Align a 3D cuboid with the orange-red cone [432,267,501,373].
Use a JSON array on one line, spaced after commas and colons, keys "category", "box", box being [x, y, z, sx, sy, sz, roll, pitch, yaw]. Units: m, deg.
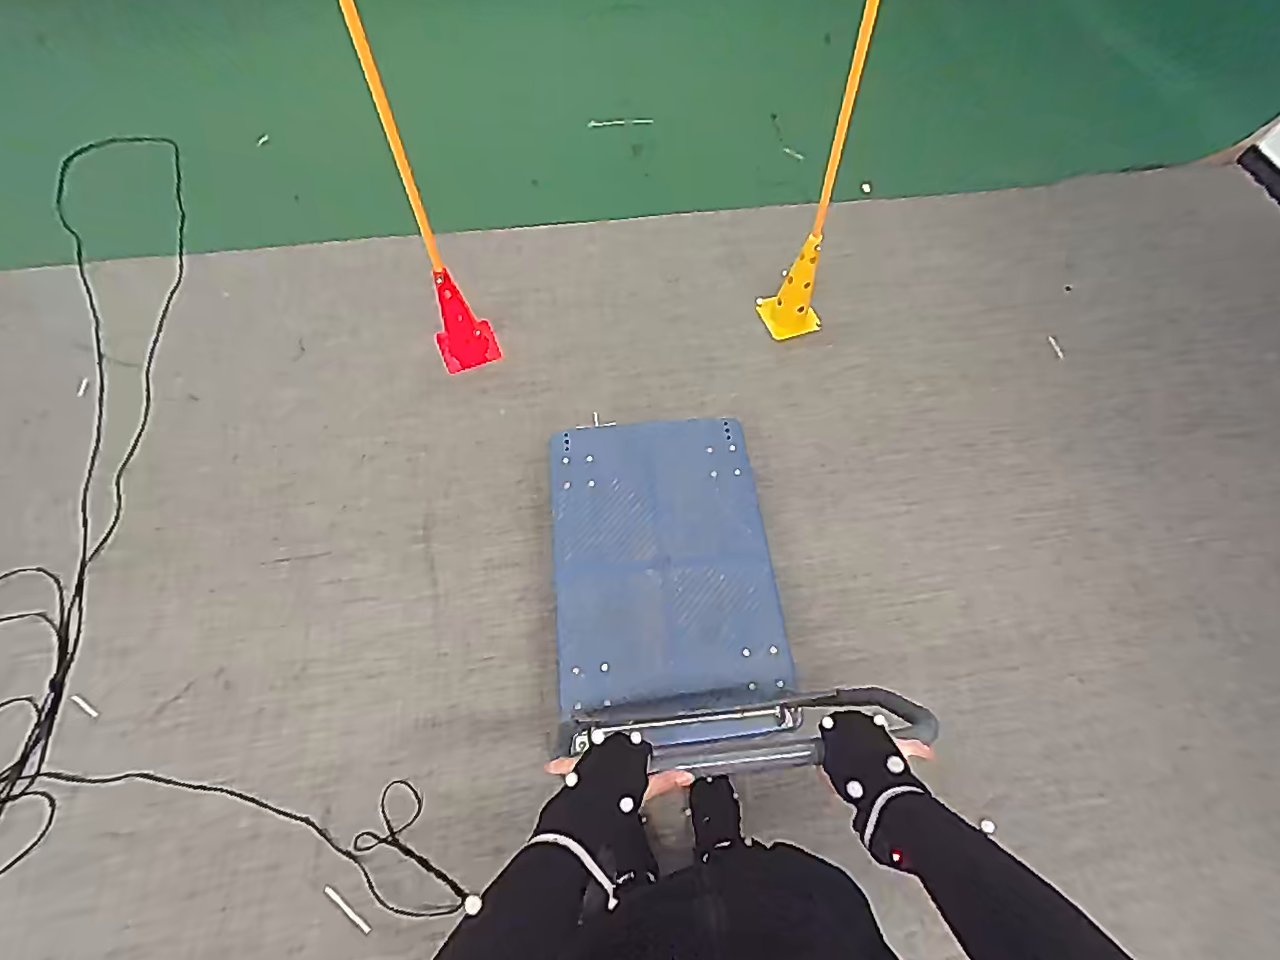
[{"category": "orange-red cone", "box": [-0.611, -0.553, 1.787, 0.199, 0.360, 0.198, -21, 66, -10]}]
